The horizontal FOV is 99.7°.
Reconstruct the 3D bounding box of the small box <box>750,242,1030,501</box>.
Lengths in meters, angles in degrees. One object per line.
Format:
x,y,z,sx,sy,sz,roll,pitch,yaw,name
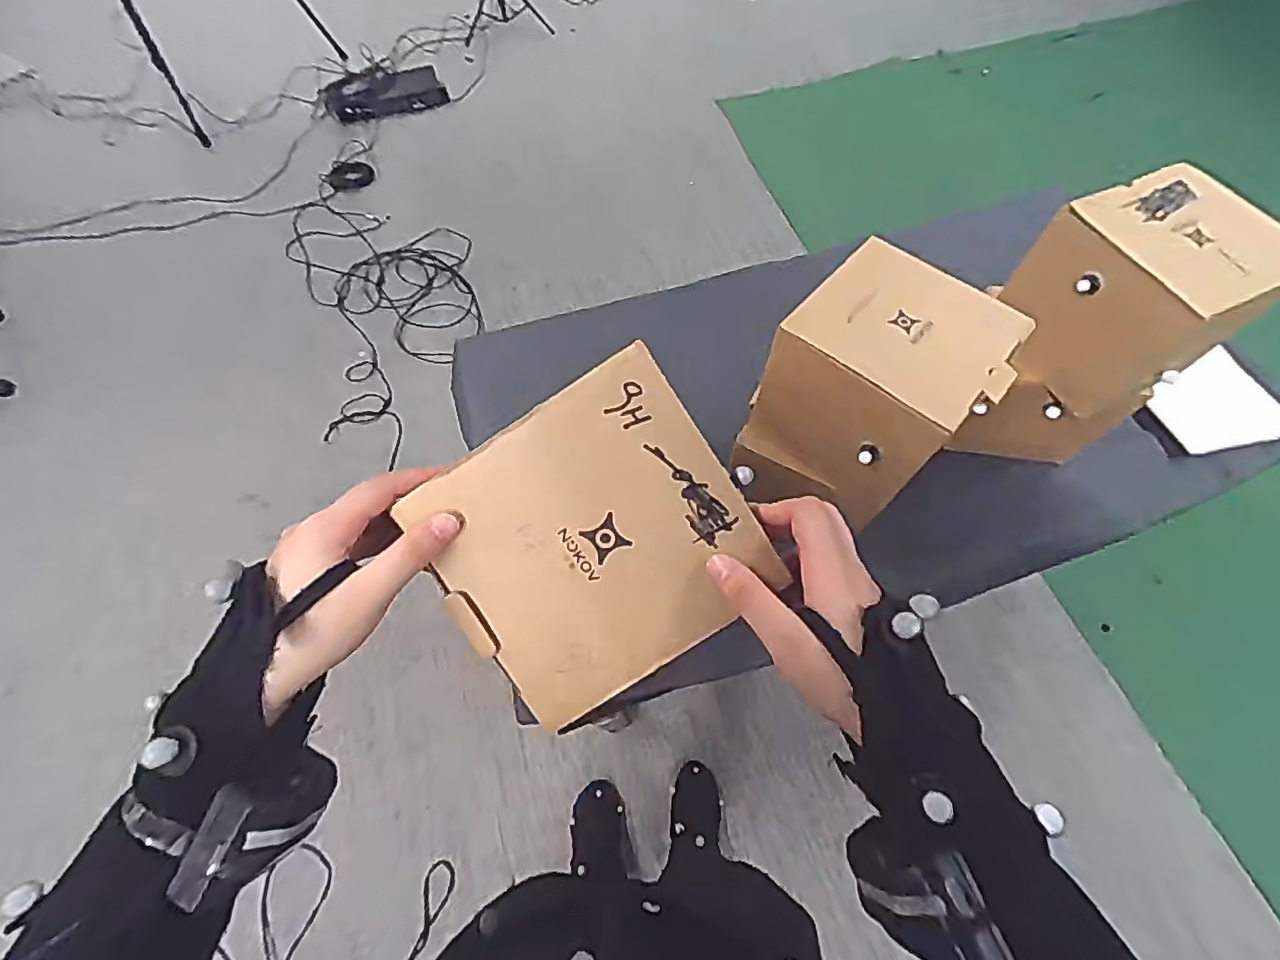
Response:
0.240,-0.101,0.562,0.179,0.176,0.168,38,68,19,small box

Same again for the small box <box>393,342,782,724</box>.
-0.028,0.028,0.392,0.179,0.176,0.168,-33,94,4,small box

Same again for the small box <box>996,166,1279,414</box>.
0.546,-0.206,0.609,0.168,0.176,0.179,-23,65,-9,small box

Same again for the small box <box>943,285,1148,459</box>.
0.542,-0.144,0.762,0.179,0.176,0.168,8,63,6,small box

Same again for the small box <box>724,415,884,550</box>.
0.223,-0.028,0.708,0.179,0.176,0.168,27,66,14,small box
